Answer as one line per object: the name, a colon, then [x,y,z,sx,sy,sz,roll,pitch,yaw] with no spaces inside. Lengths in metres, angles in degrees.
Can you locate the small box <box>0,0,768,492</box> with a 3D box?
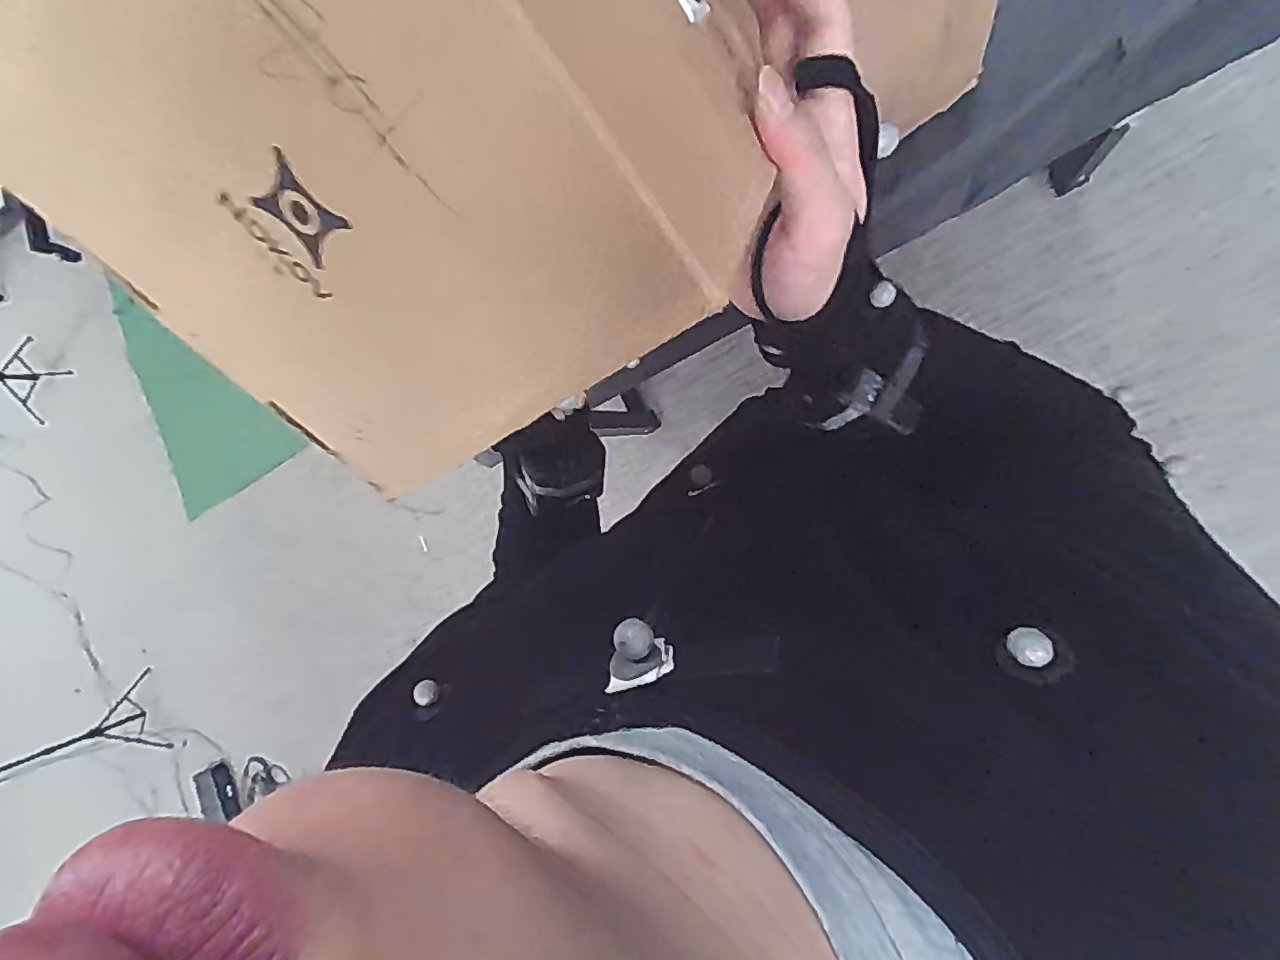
small box: [-0.072,-0.128,0.204,0.179,0.176,0.168,-23,121,37]
